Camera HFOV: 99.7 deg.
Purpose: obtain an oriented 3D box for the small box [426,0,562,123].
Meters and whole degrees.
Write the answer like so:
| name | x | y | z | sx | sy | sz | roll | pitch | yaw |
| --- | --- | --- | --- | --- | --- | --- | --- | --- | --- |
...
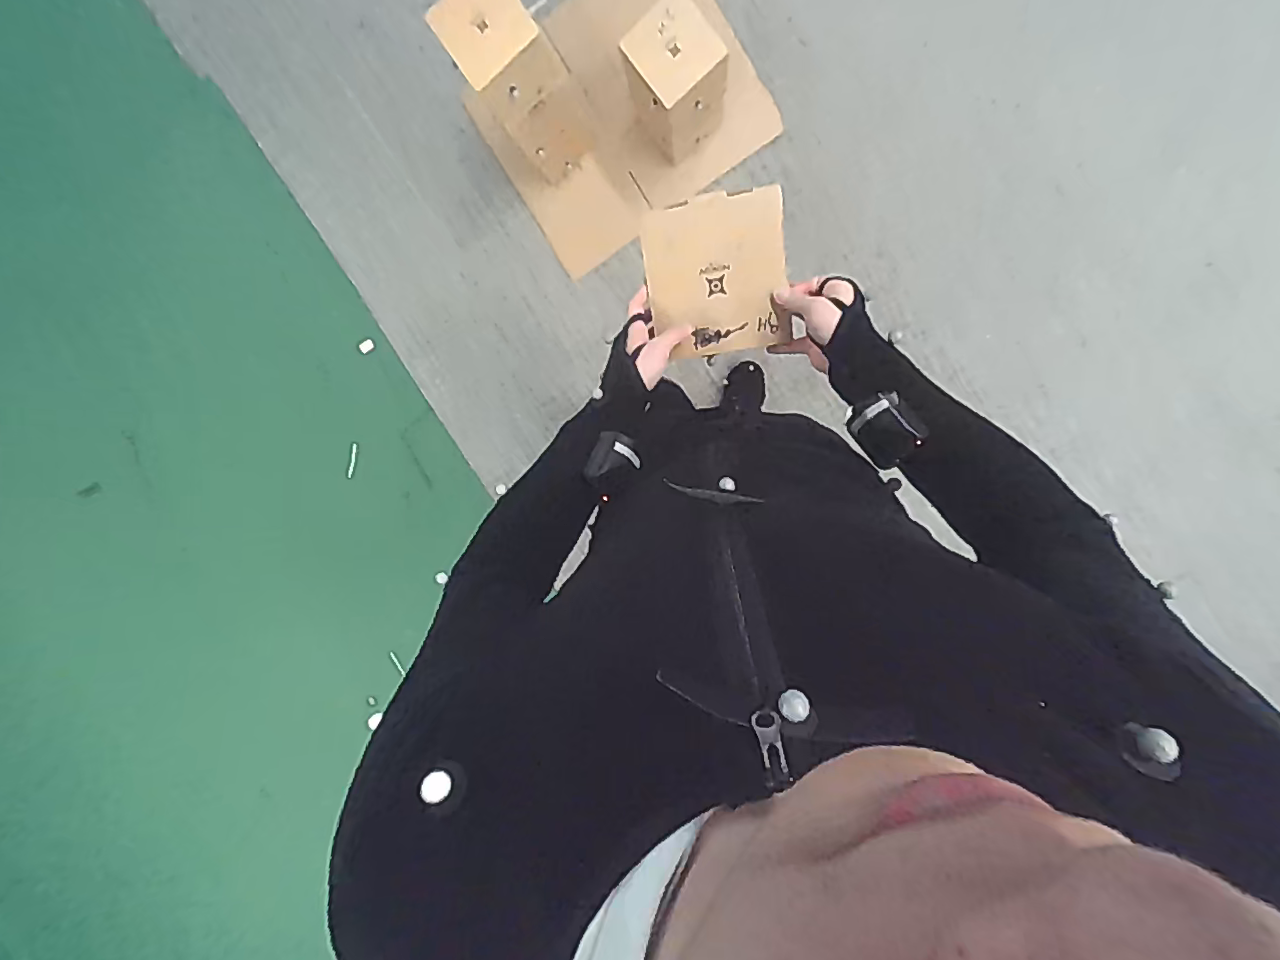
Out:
| name | x | y | z | sx | sy | sz | roll | pitch | yaw |
| --- | --- | --- | --- | --- | --- | --- | --- | --- | --- |
| small box | -0.285 | -0.871 | 1.098 | 0.168 | 0.176 | 0.179 | -35 | 93 | 13 |

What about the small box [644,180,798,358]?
| name | x | y | z | sx | sy | sz | roll | pitch | yaw |
| --- | --- | --- | --- | --- | --- | --- | --- | --- | --- |
| small box | 0.105 | -0.260 | 0.702 | 0.168 | 0.176 | 0.179 | -6 | 105 | 11 |

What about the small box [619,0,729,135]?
| name | x | y | z | sx | sy | sz | roll | pitch | yaw |
| --- | --- | --- | --- | --- | --- | --- | --- | --- | --- |
| small box | 0.081 | -0.908 | 1.198 | 0.168 | 0.176 | 0.179 | -38 | 93 | 12 |

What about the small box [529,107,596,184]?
| name | x | y | z | sx | sy | sz | roll | pitch | yaw |
| --- | --- | --- | --- | --- | --- | --- | --- | --- | --- |
| small box | -0.240 | -0.923 | 1.416 | 0.168 | 0.176 | 0.179 | -39 | 93 | 13 |

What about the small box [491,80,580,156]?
| name | x | y | z | sx | sy | sz | roll | pitch | yaw |
| --- | --- | --- | --- | --- | --- | --- | --- | --- | --- |
| small box | -0.264 | -0.895 | 1.257 | 0.168 | 0.176 | 0.179 | -35 | 92 | 13 |
